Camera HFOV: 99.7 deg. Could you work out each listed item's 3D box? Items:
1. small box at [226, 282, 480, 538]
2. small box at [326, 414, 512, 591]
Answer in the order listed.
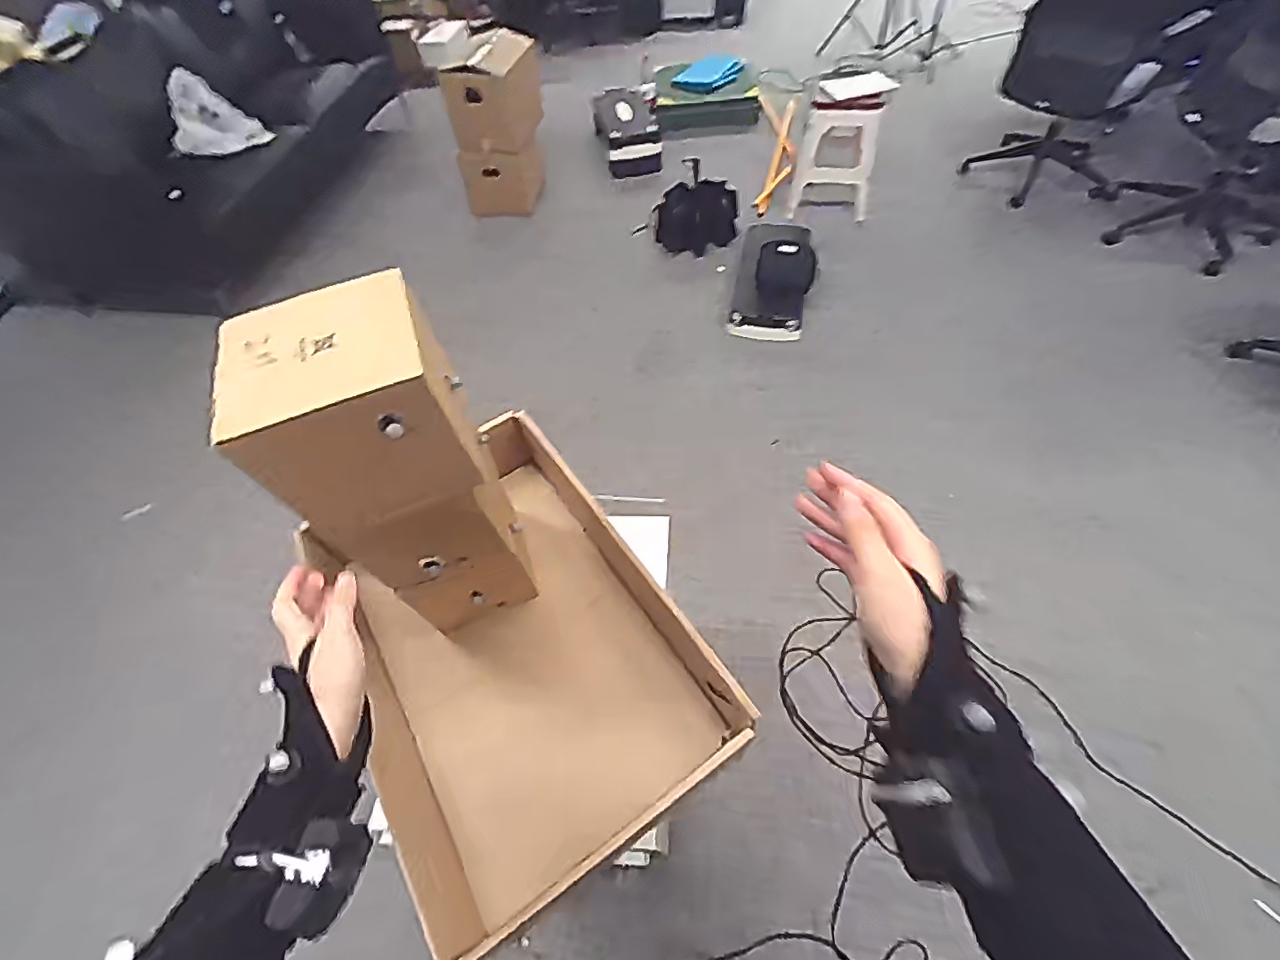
[{"bbox_3d":[-0.282,-0.068,0.565,0.179,0.176,0.168,-21,55,-7],"label":"small box"},{"bbox_3d":[-0.282,0.017,0.707,0.168,0.176,0.179,-19,57,-5],"label":"small box"}]
